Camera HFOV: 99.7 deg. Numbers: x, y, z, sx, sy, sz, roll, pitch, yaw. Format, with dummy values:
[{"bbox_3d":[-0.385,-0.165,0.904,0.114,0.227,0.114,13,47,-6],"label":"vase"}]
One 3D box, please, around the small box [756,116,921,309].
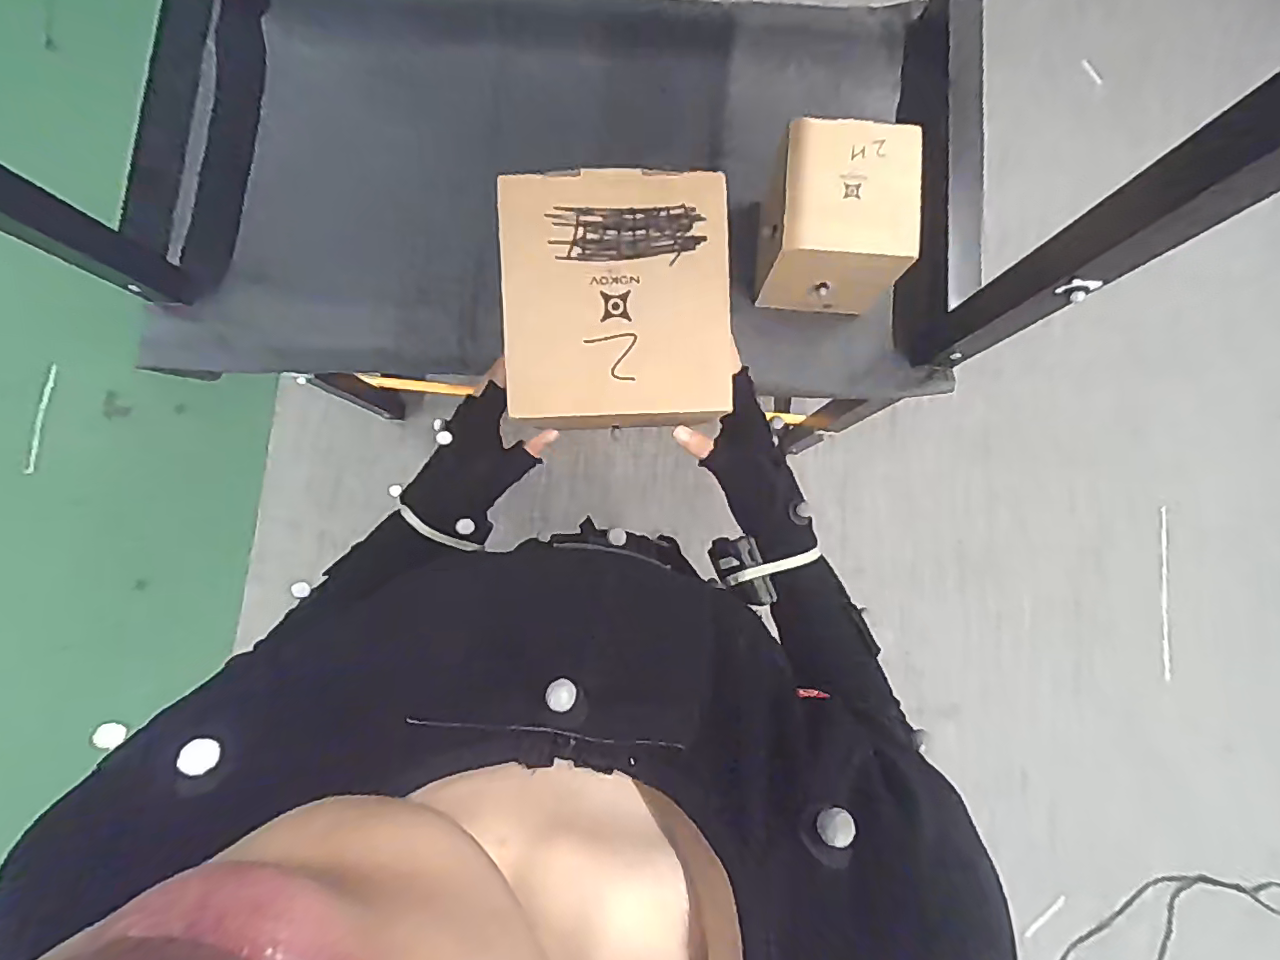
[{"bbox_3d":[0.259,-0.351,0.741,0.168,0.176,0.179,5,83,0],"label":"small box"}]
